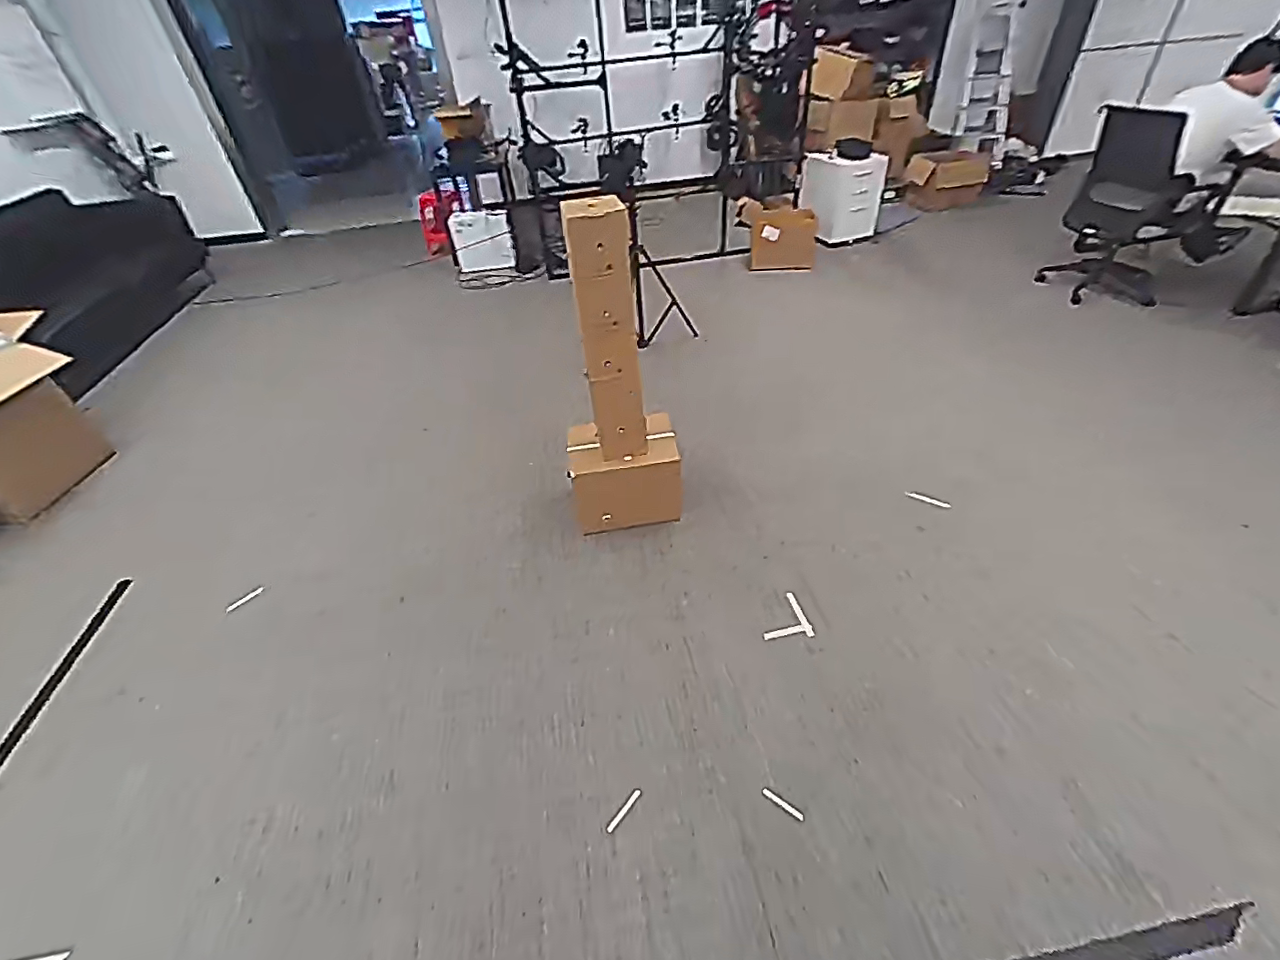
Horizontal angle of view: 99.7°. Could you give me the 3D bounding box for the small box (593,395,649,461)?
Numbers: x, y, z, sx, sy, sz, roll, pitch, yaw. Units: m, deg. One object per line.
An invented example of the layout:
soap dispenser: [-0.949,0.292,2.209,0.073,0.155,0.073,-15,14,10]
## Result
small box: [-0.067,-0.188,1.977,0.179,0.176,0.168,-9,42,-6]

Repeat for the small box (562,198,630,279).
small box: [-0.126,-0.694,1.565,0.168,0.176,0.179,-11,42,-6]

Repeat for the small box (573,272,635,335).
small box: [-0.114,-0.567,1.668,0.168,0.176,0.179,-11,42,-5]

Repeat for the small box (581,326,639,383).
small box: [-0.101,-0.440,1.773,0.168,0.176,0.179,-10,42,-5]
